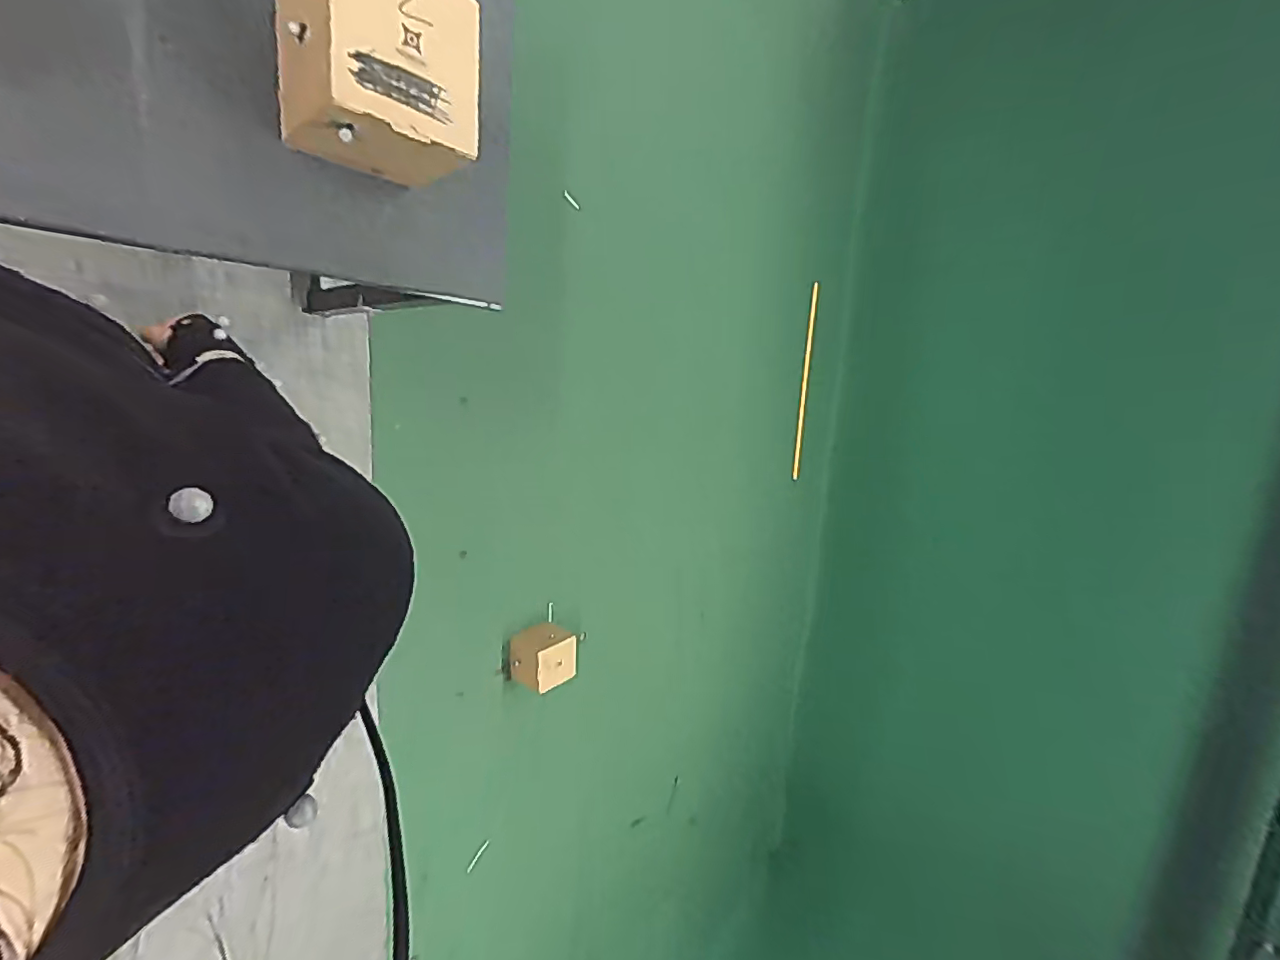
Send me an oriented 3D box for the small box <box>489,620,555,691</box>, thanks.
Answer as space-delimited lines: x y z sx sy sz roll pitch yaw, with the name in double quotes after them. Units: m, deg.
-0.433 0.634 1.981 0.179 0.176 0.168 -12 109 -49 "small box"
